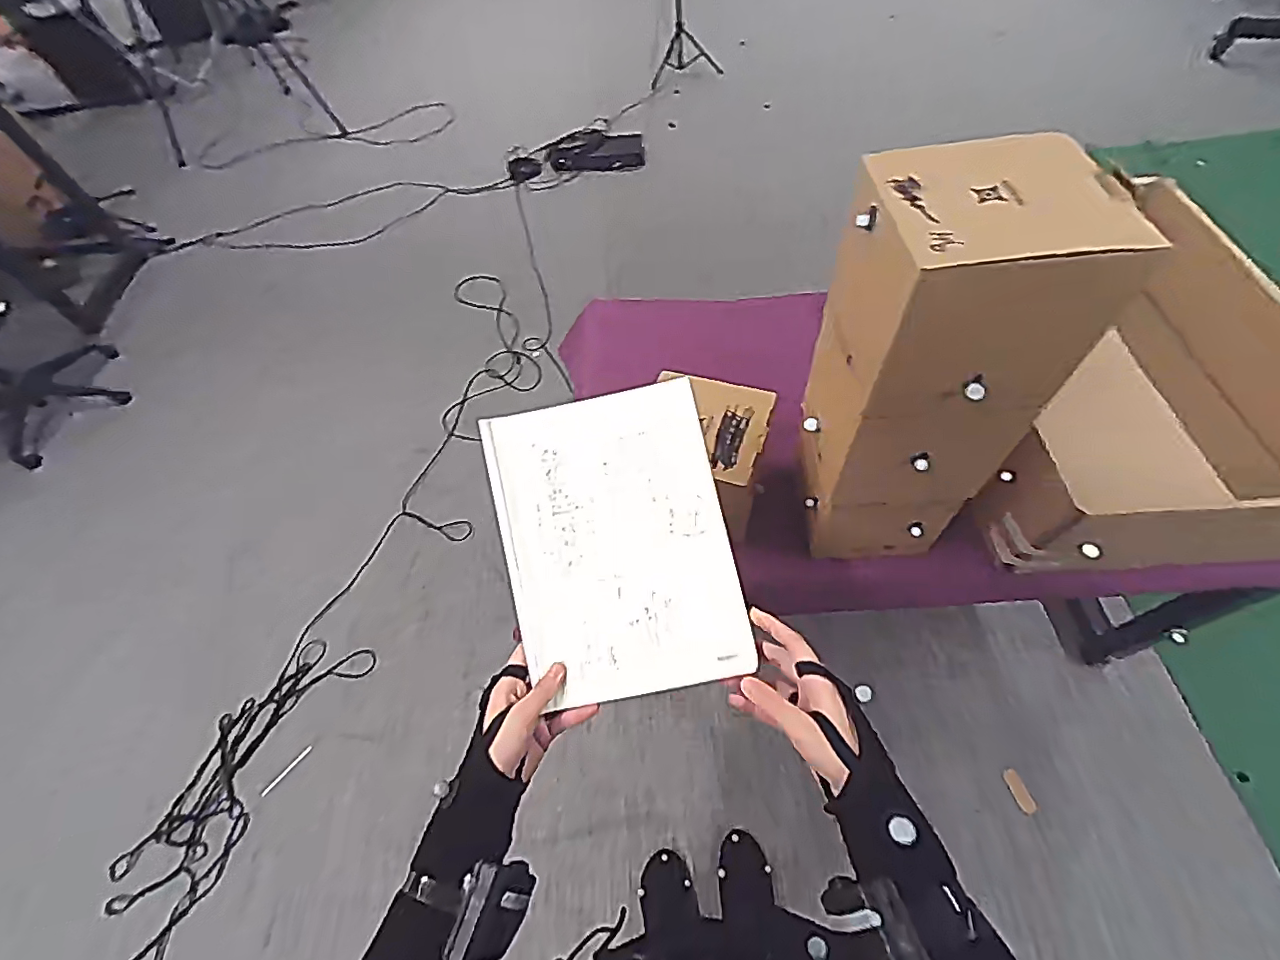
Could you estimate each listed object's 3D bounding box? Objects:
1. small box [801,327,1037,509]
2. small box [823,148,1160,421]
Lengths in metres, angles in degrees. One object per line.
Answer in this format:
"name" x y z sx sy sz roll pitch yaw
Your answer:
"small box" 0.300 -0.079 0.629 0.179 0.176 0.168 -4 55 4
"small box" 0.285 -0.170 0.493 0.179 0.176 0.168 -3 55 3
